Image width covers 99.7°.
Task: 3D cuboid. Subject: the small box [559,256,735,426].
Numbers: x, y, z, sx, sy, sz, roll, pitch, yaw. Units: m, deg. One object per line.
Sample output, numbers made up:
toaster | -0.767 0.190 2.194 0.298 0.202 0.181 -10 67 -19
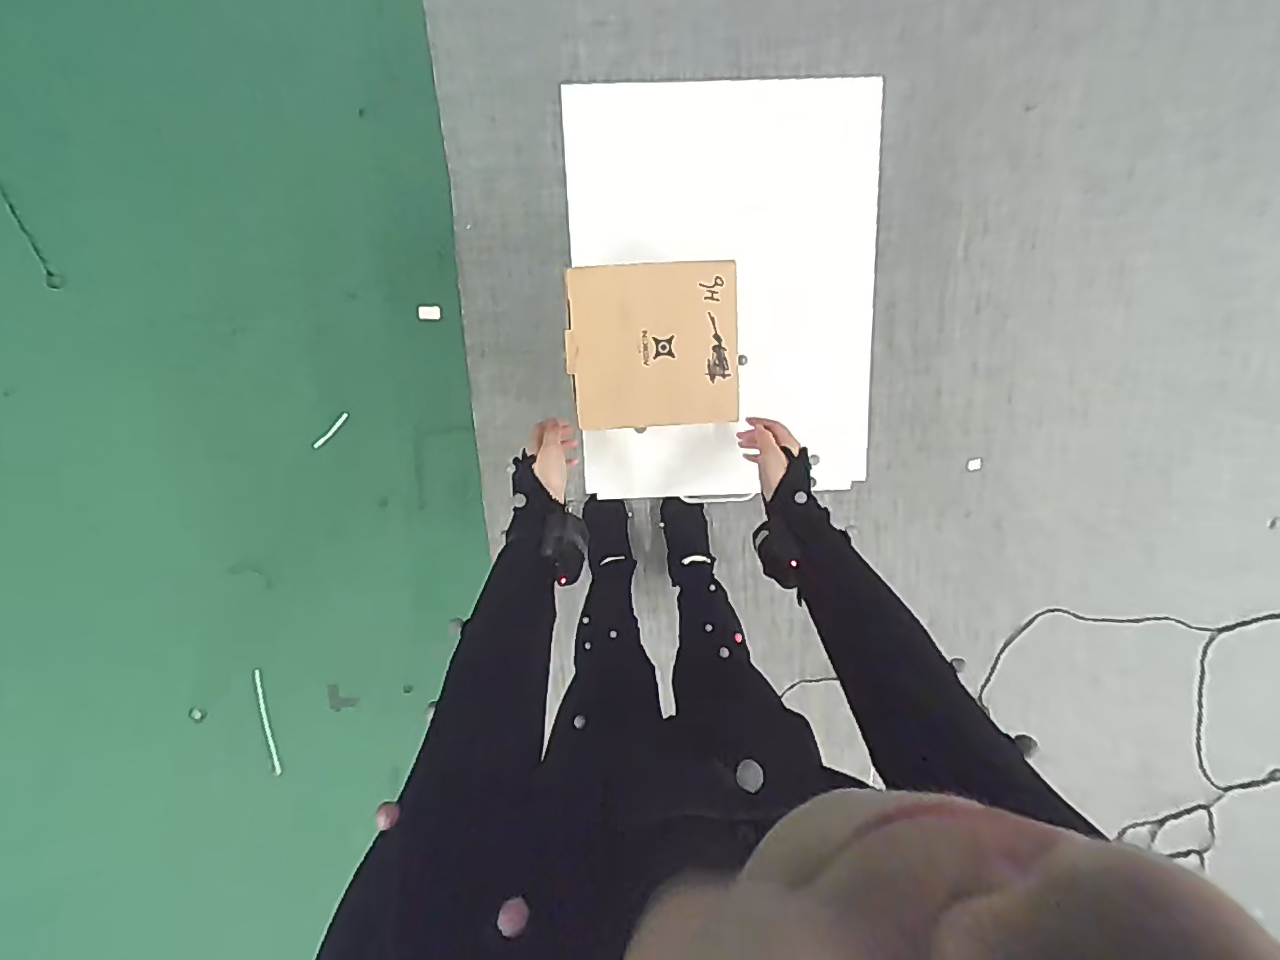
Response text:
small box | 0.007 -0.155 0.630 0.179 0.176 0.168 -4 102 -2
